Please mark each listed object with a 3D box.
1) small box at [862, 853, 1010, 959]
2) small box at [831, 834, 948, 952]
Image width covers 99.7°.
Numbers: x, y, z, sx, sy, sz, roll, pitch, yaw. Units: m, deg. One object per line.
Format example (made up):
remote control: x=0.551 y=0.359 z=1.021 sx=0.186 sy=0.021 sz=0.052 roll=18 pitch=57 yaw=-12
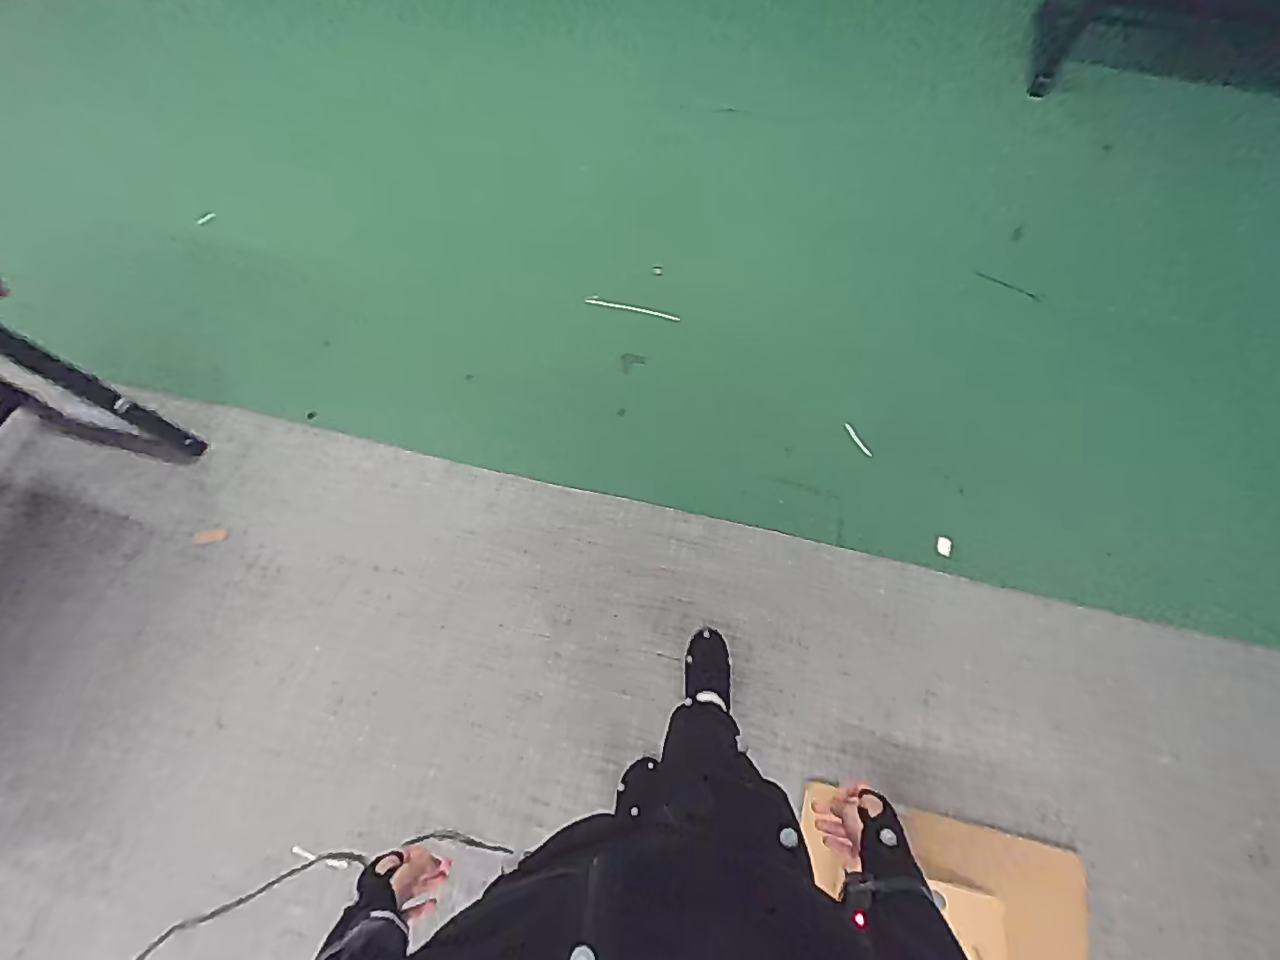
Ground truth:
small box: x=0.503 y=0.776 z=0.938 sx=0.179 sy=0.176 sz=0.168 roll=12 pitch=69 yaw=5
small box: x=0.499 y=0.839 z=1.090 sx=0.179 sy=0.176 sz=0.168 roll=11 pitch=68 yaw=5
